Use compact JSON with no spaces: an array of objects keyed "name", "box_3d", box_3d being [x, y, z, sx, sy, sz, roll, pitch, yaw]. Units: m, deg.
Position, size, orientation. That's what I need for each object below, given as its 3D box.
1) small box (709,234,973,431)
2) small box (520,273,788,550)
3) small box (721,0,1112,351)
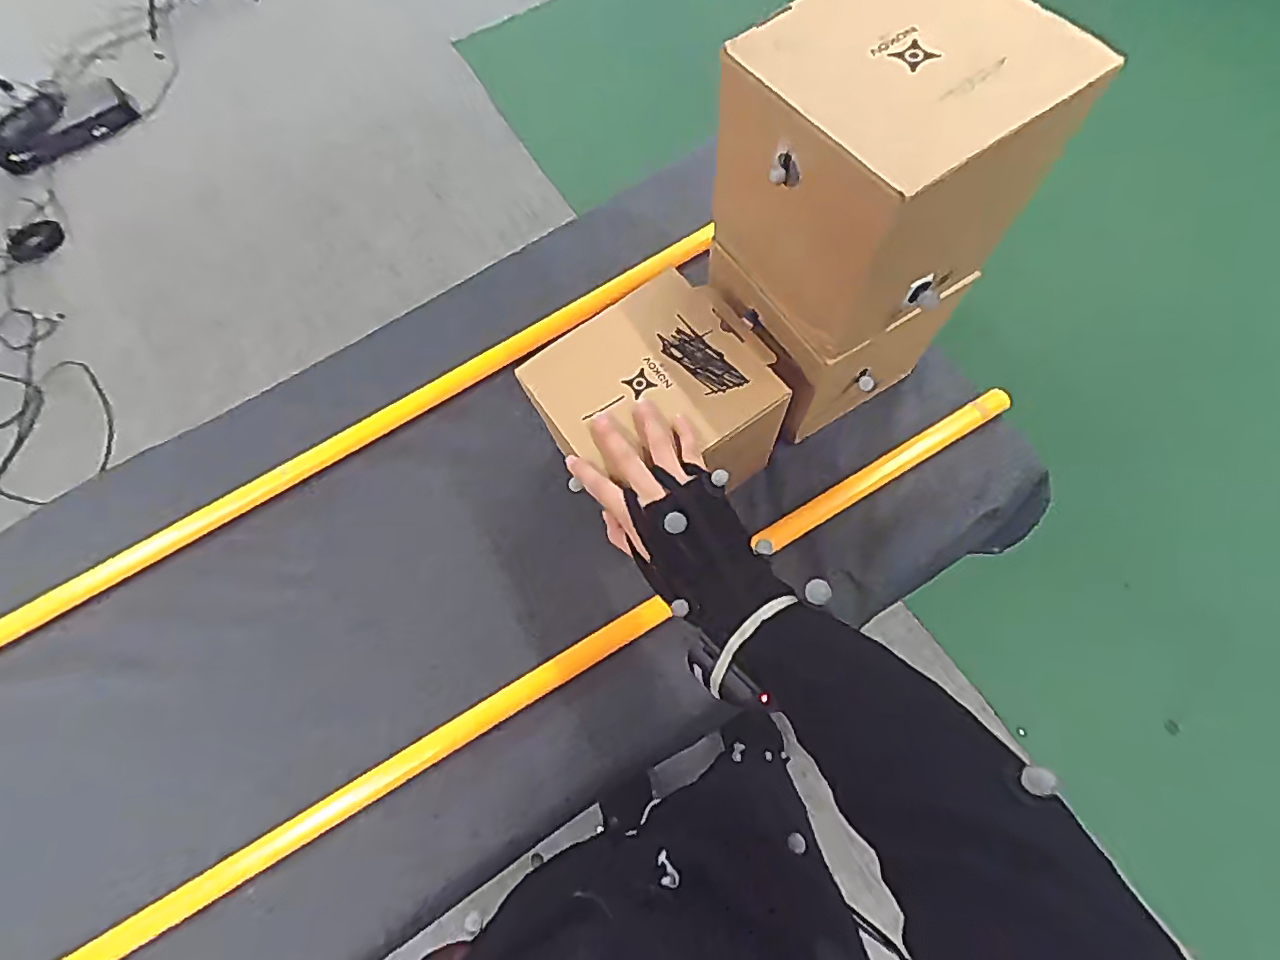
[{"name":"small box","box_3d":[0.187,-0.173,0.563,0.168,0.176,0.179,-31,69,-6]},{"name":"small box","box_3d":[0.014,-0.056,0.534,0.179,0.176,0.168,-35,71,-7]},{"name":"small box","box_3d":[0.174,-0.236,0.414,0.168,0.176,0.179,-34,70,-6]}]
